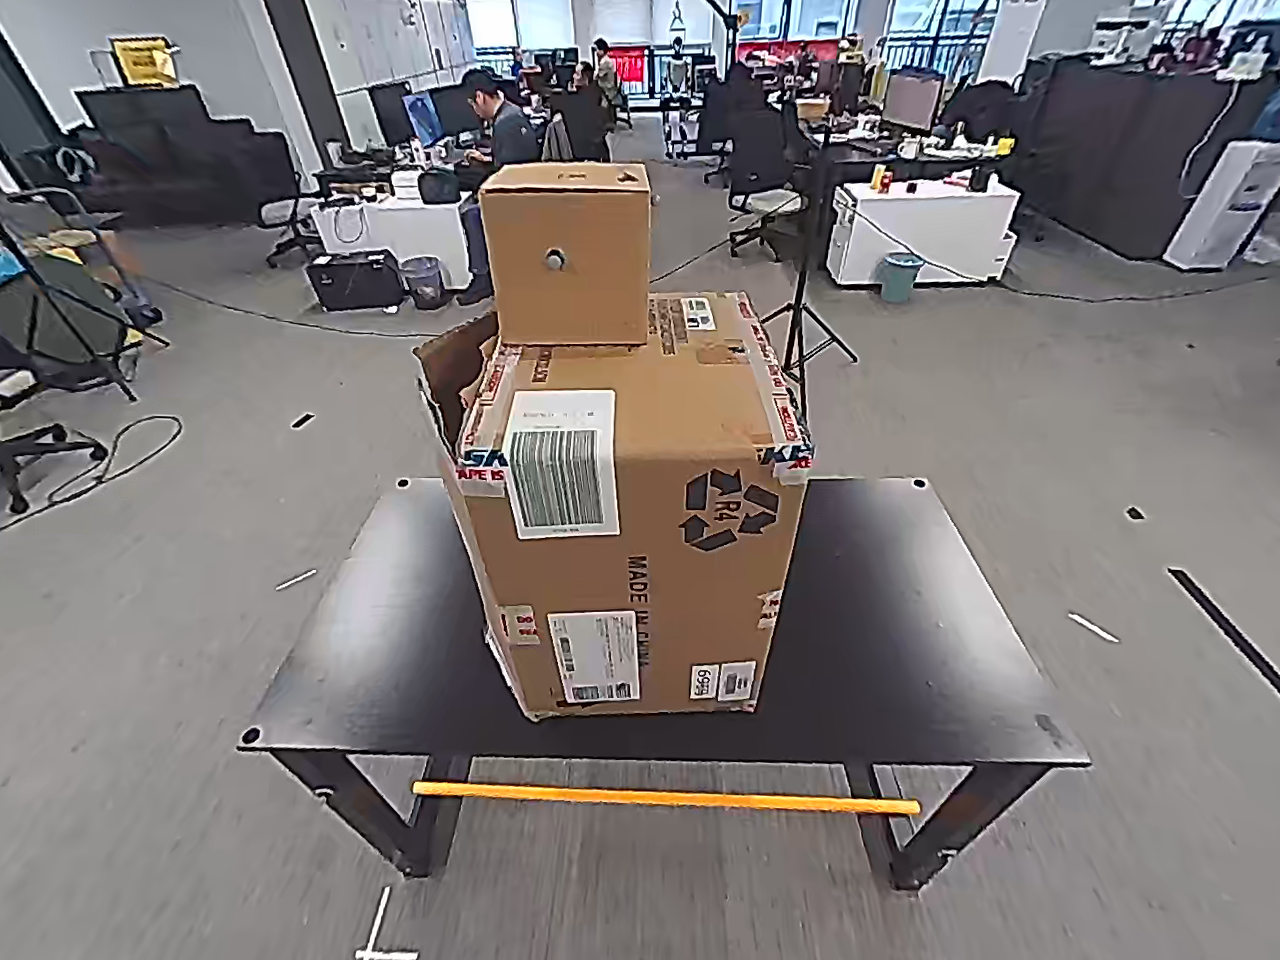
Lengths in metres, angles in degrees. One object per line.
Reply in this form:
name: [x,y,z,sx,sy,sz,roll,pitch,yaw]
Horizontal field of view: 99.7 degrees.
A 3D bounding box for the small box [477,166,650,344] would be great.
small box: [-0.079,-0.272,0.656,0.179,0.176,0.168,-2,38,-1]
